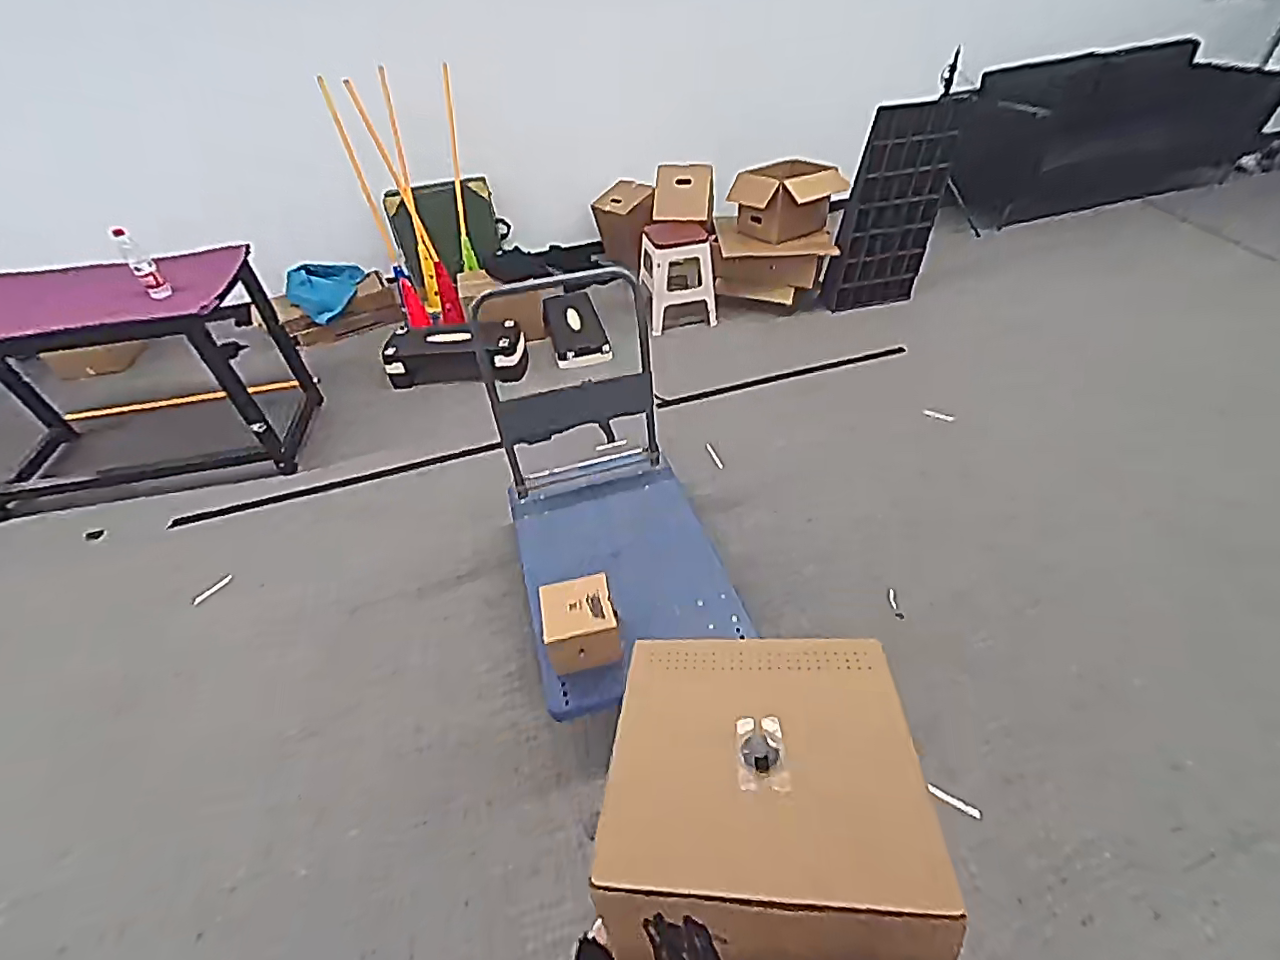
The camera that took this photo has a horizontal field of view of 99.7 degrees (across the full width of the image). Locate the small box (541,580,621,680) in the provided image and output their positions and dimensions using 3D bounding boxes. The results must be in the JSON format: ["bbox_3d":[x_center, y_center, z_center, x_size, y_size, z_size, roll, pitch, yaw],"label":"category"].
[{"bbox_3d":[-0.149,0.386,1.388,0.179,0.176,0.168,-12,43,-7],"label":"small box"}]
